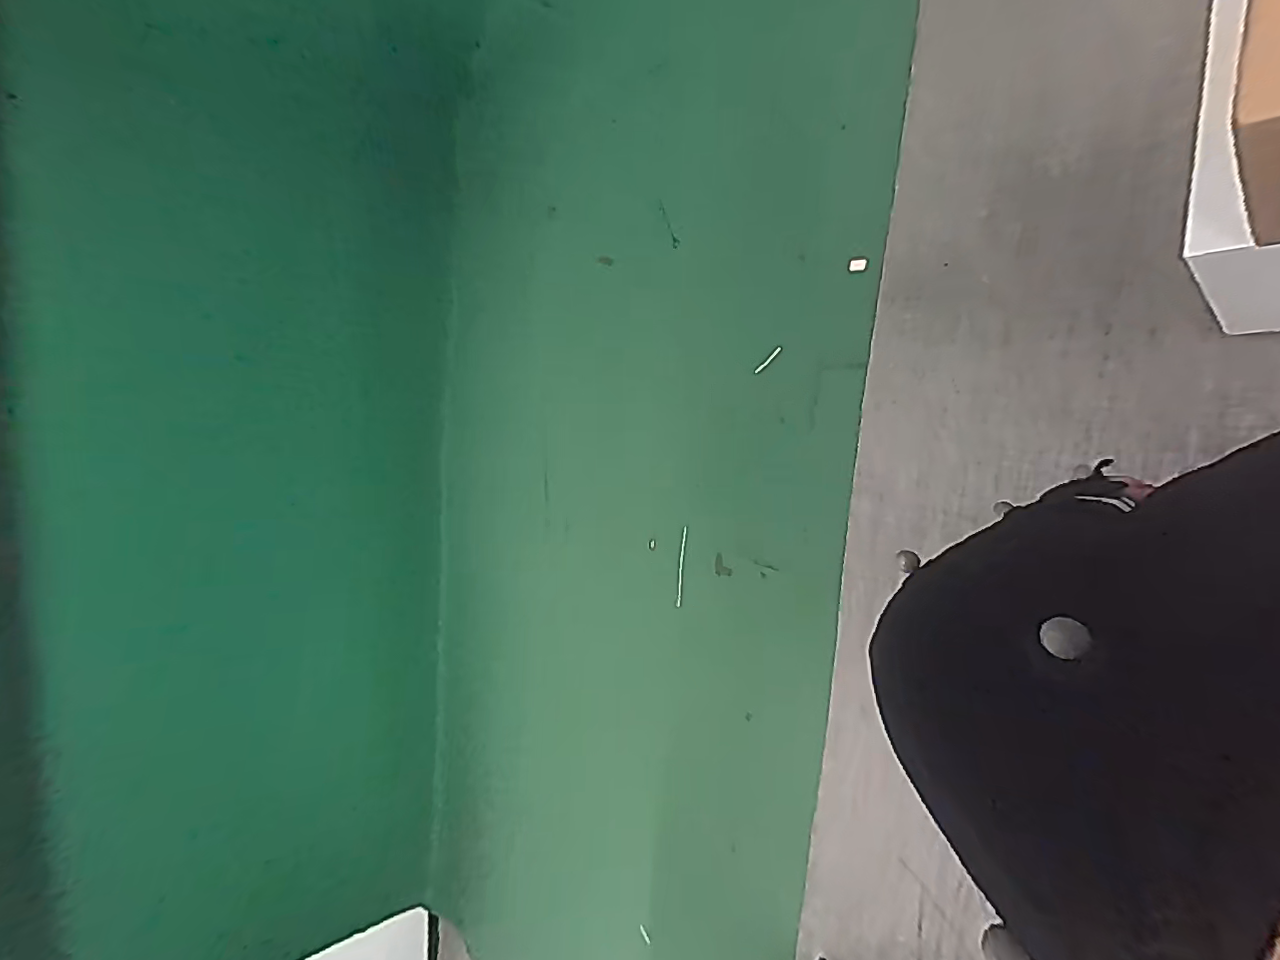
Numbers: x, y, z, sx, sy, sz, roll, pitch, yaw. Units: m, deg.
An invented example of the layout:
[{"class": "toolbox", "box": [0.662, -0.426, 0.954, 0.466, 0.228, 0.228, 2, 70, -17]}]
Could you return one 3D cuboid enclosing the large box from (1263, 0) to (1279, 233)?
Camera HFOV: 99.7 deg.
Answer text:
[{"class": "large box", "box": [0.644, -0.373, 0.281, 0.408, 0.320, 0.320, 9, 98, 49]}]
